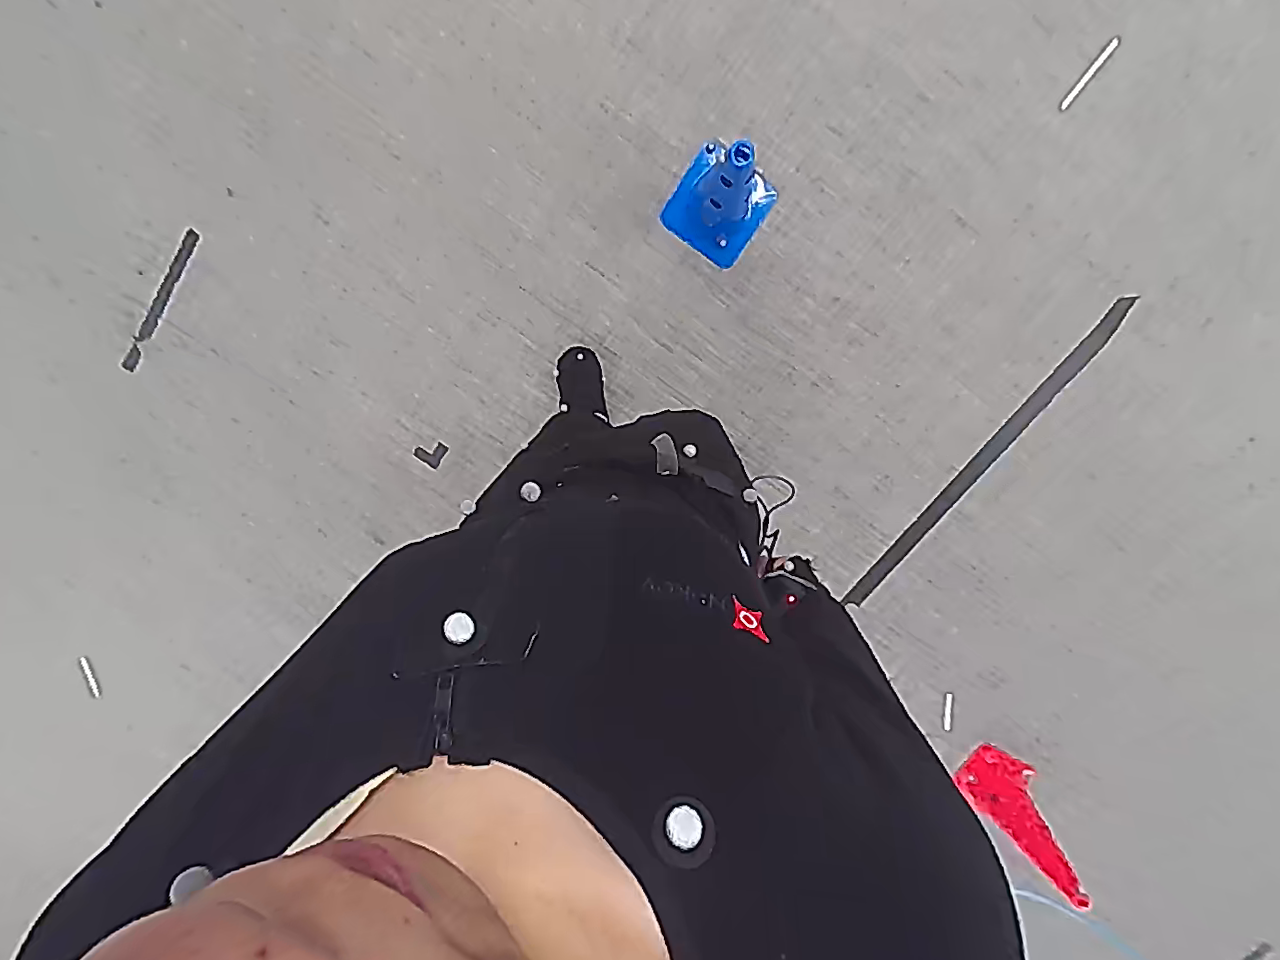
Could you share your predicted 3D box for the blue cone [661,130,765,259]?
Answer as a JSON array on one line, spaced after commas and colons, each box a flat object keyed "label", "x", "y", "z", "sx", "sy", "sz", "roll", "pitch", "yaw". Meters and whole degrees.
[{"label": "blue cone", "x": 0.155, "y": -0.574, "z": 1.037, "sx": 0.192, "sy": 0.380, "sz": 0.193, "roll": 36, "pitch": 103, "yaw": -6}]

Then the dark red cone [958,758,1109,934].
[{"label": "dark red cone", "x": 1.017, "y": 0.926, "z": 1.364, "sx": 0.201, "sy": 0.394, "sz": 0.202, "roll": 27, "pitch": 104, "yaw": -4}]
